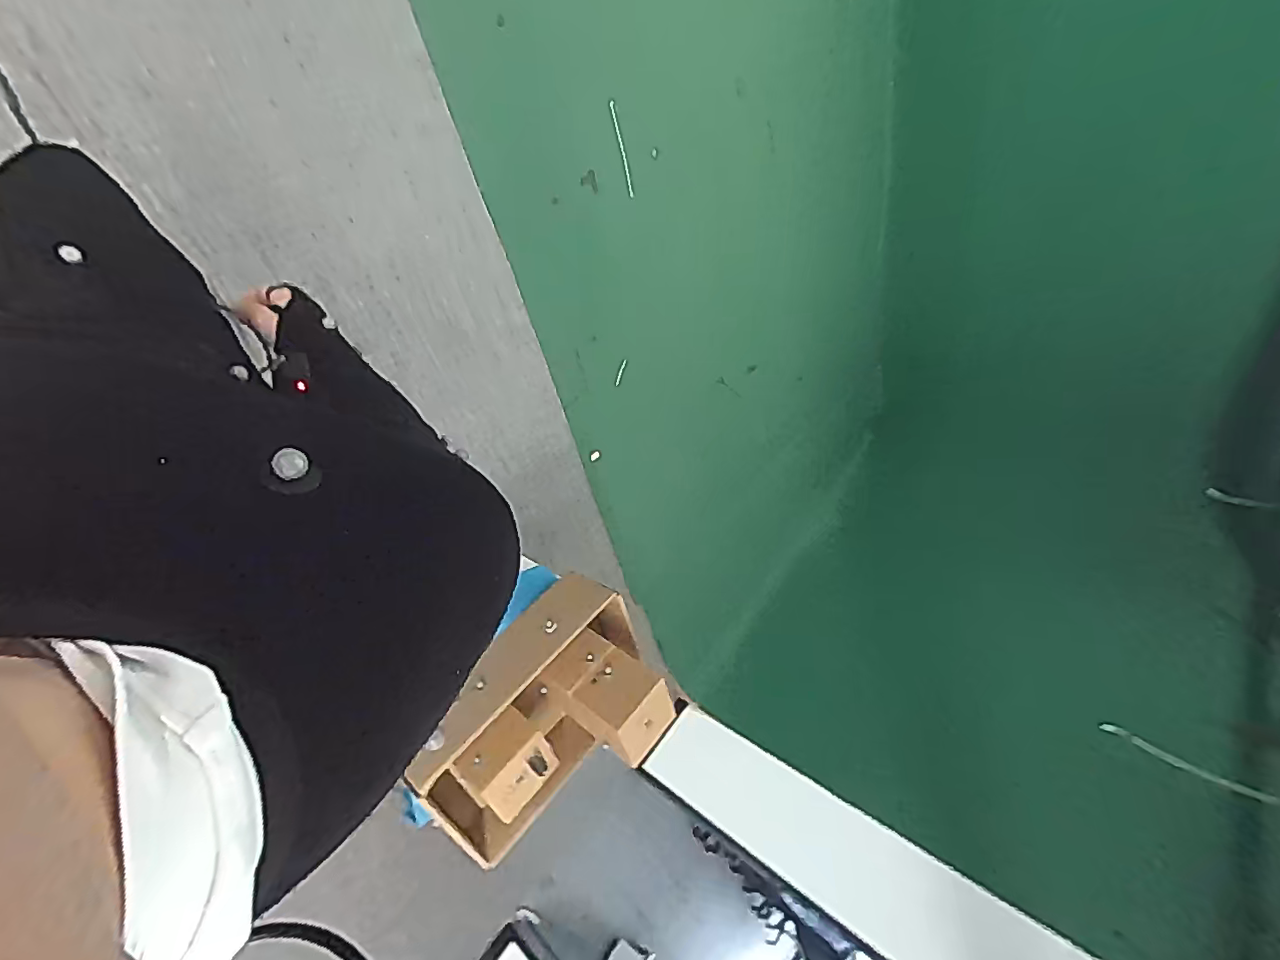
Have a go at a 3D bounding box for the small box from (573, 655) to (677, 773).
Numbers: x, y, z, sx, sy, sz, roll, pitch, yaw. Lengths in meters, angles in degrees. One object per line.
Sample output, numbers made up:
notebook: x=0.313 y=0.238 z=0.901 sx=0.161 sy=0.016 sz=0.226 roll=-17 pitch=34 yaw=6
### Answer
small box: x=-0.036 y=0.568 z=1.331 sx=0.168 sy=0.176 sz=0.179 roll=-41 pitch=132 yaw=-31

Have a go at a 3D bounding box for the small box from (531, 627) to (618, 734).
small box: x=-0.158 y=0.522 z=1.430 sx=0.168 sy=0.176 sz=0.179 roll=-41 pitch=133 yaw=-32
